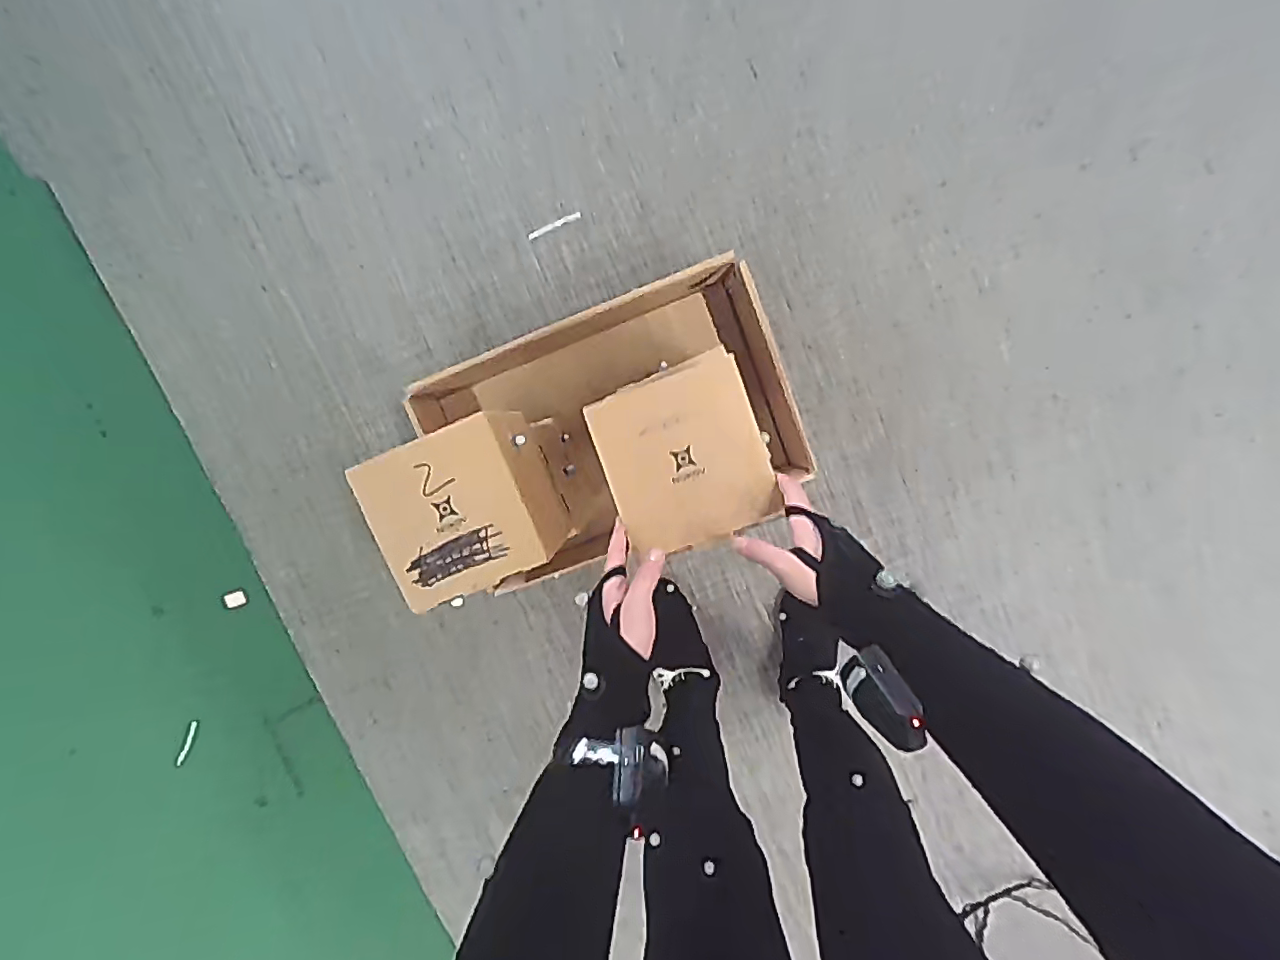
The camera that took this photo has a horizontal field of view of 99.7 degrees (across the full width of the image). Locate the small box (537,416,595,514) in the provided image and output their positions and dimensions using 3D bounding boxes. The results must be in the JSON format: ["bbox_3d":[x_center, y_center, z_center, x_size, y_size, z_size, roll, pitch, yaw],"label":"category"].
[{"bbox_3d":[-0.190,-0.008,0.983,0.168,0.176,0.179,-21,96,4],"label":"small box"}]

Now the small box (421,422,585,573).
[{"bbox_3d":[-0.190,0.015,0.820,0.179,0.176,0.168,-22,96,3],"label":"small box"}]

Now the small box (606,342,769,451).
[{"bbox_3d":[0.067,-0.085,0.798,0.179,0.176,0.168,-24,98,4],"label":"small box"}]

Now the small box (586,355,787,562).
[{"bbox_3d":[0.053,-0.023,0.629,0.168,0.176,0.179,-19,89,3],"label":"small box"}]
